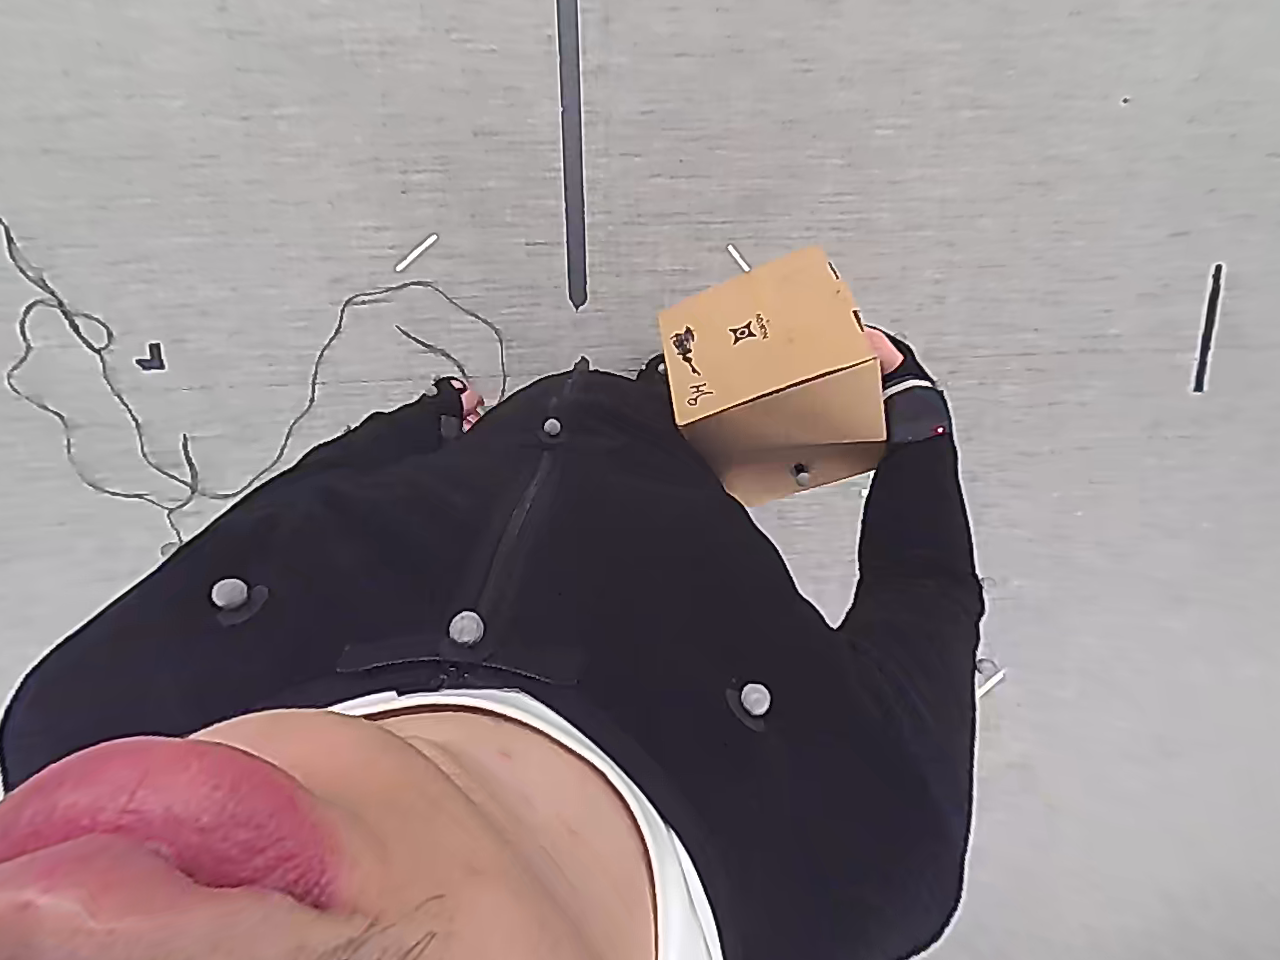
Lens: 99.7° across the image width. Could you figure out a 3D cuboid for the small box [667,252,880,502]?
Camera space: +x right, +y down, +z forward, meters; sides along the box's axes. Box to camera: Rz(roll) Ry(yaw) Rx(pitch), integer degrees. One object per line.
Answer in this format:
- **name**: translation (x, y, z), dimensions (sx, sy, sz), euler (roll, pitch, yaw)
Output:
- **small box**: translation (0.146, -0.101, 0.584), dimensions (0.179, 0.168, 0.176), euler (-18, 142, 16)
